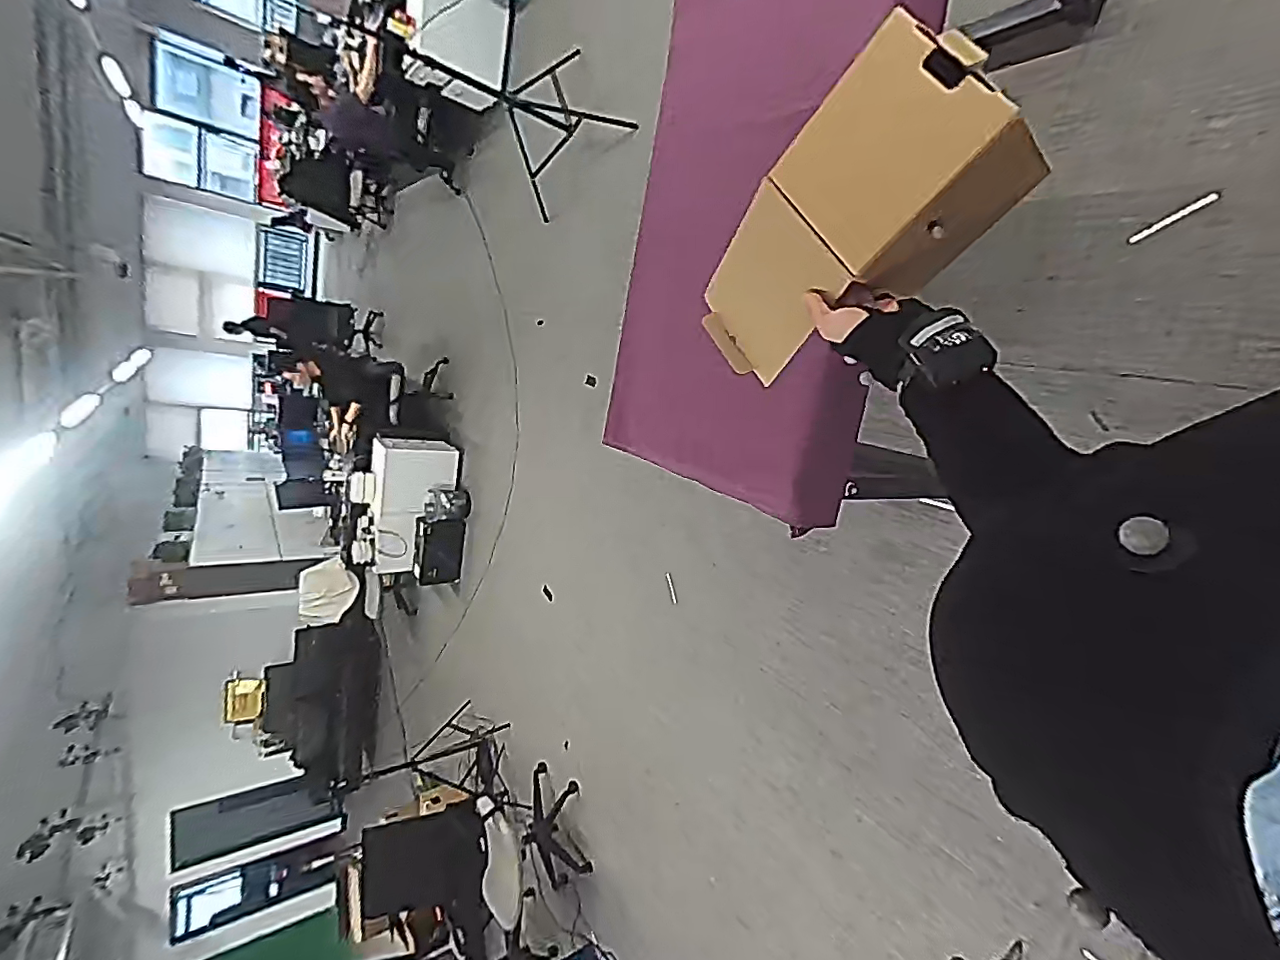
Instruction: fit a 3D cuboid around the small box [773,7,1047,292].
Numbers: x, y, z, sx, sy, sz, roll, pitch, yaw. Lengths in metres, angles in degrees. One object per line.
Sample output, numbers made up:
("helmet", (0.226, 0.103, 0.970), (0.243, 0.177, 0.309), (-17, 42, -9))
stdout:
("small box", (0.286, -0.327, 0.577), (0.179, 0.176, 0.168), (-45, 65, 38))
